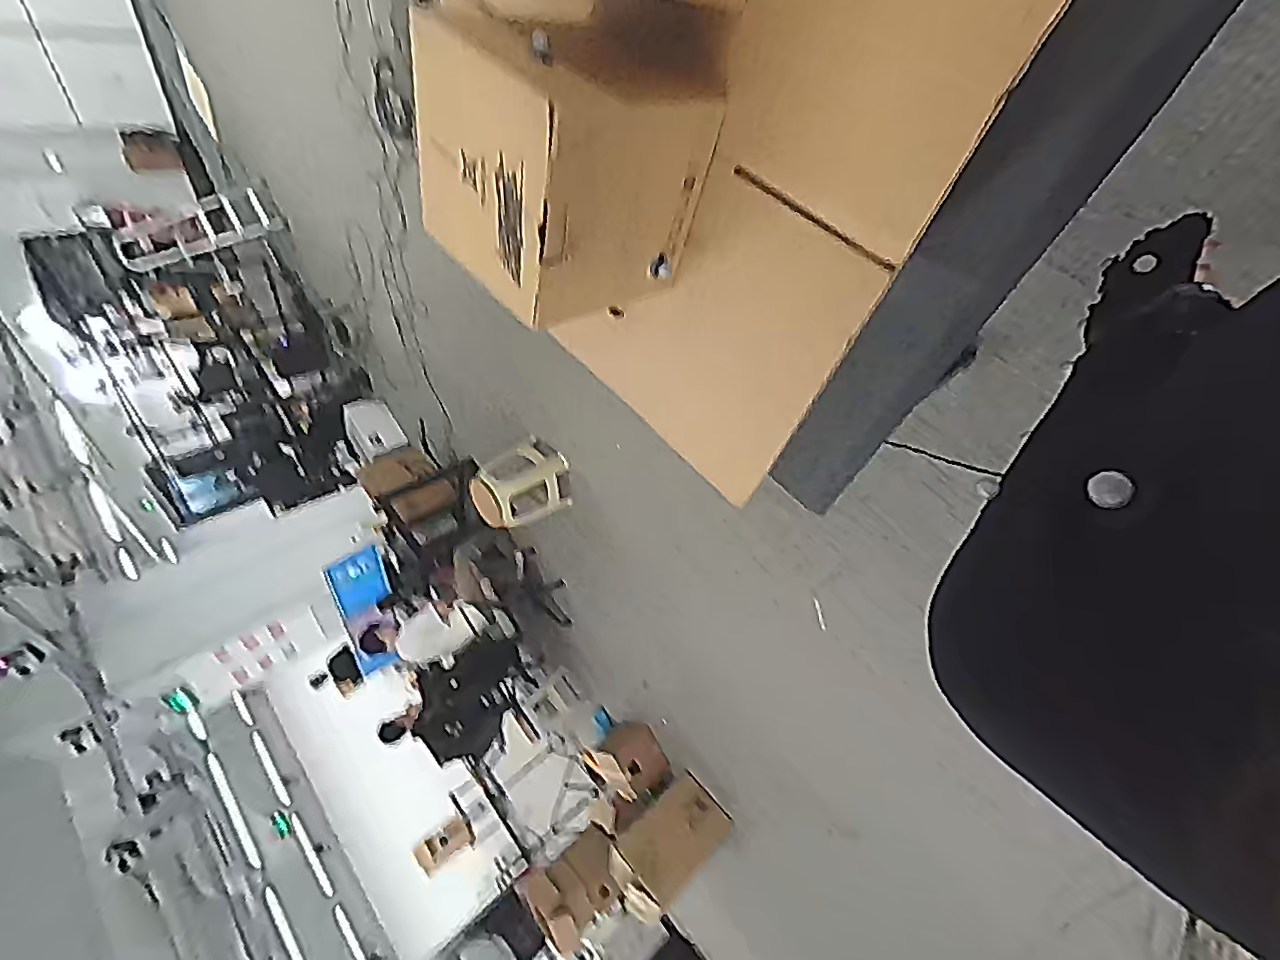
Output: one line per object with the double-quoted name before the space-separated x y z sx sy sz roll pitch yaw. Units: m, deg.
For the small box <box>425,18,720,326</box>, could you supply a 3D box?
"small box" -0.060 -0.268 0.471 0.179 0.176 0.168 45 142 22
